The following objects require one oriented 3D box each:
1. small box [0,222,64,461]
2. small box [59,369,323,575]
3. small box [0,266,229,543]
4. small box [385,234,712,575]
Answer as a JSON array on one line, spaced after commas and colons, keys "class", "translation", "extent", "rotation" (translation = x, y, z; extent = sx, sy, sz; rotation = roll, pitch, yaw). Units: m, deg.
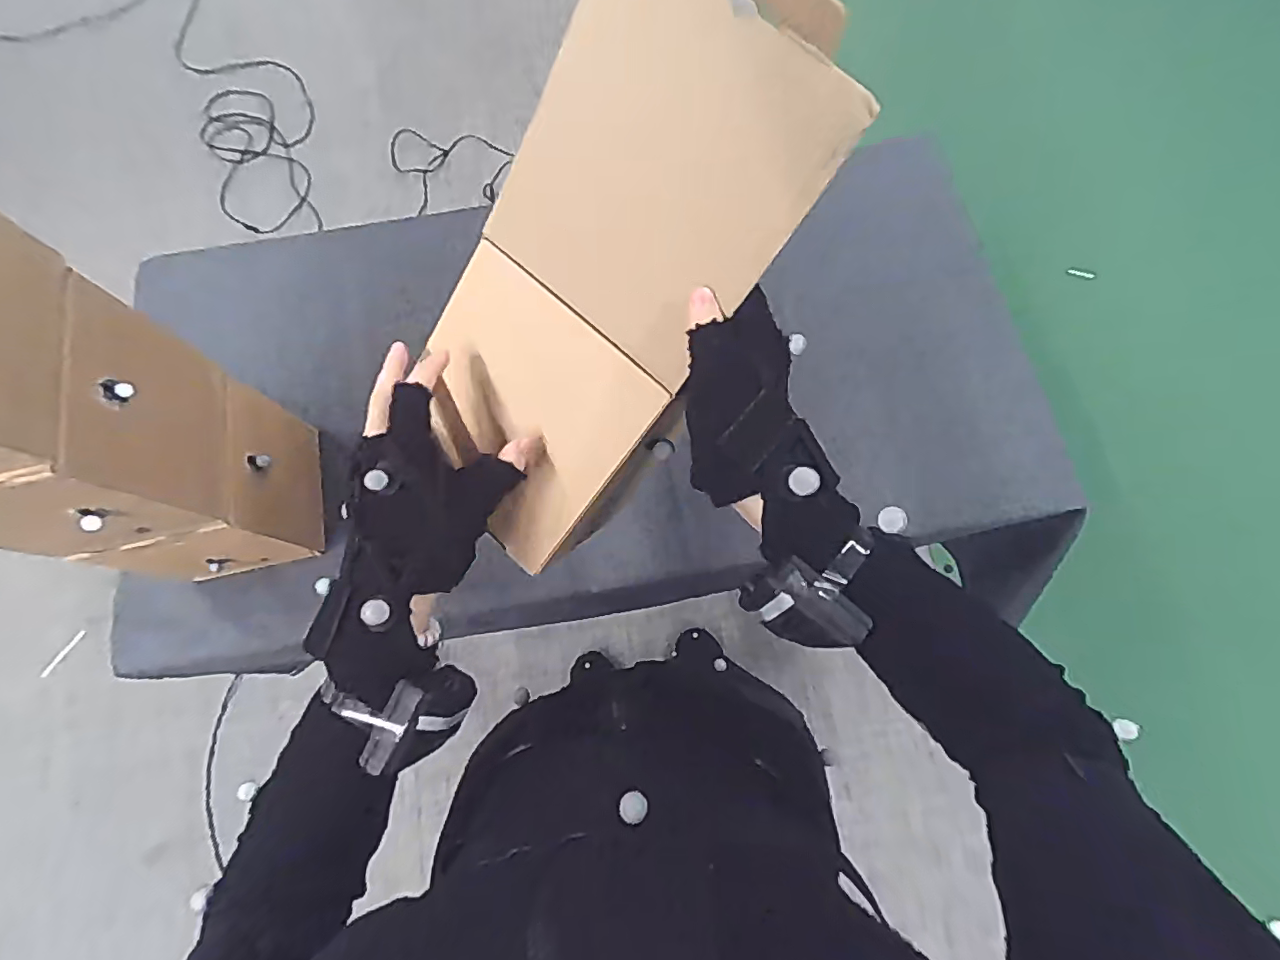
[{"class": "small box", "translation": [-0.503, -0.101, 0.315], "extent": [0.168, 0.176, 0.179], "rotation": [-13, 74, -4]}, {"class": "small box", "translation": [-0.496, 0.000, 0.626], "extent": [0.168, 0.176, 0.179], "rotation": [-12, 74, -3]}, {"class": "small box", "translation": [-0.499, -0.048, 0.470], "extent": [0.168, 0.176, 0.179], "rotation": [-12, 74, -3]}, {"class": "small box", "translation": [-0.058, -0.061, 0.443], "extent": [0.168, 0.176, 0.179], "rotation": [42, 111, 7]}]
